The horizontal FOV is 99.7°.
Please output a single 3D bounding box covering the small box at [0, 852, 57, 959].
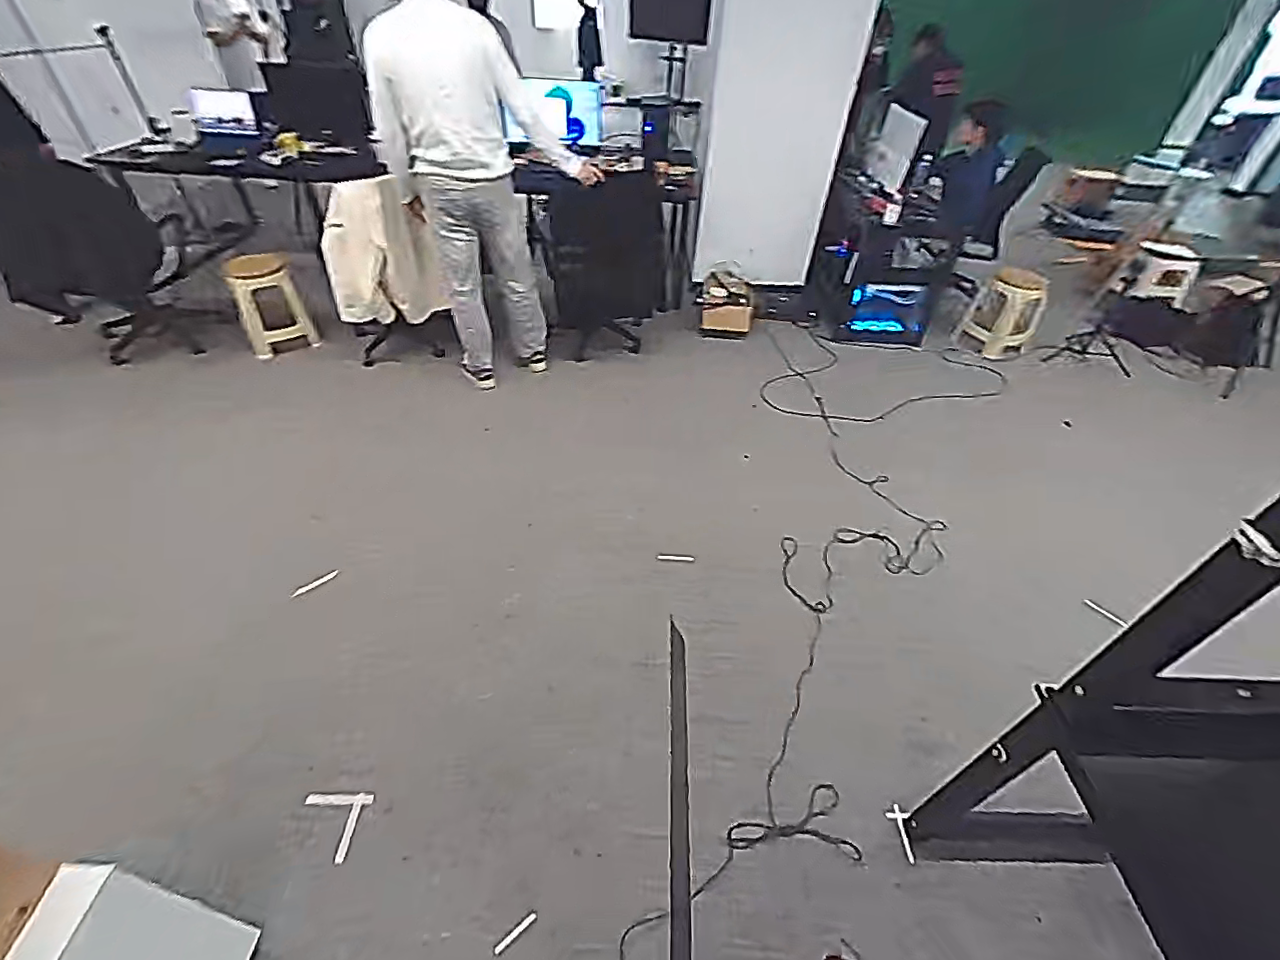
[{"bbox_3d":[-0.973,0.603,0.718,0.179,0.176,0.168,0,44,-3],"label":"small box"}]
